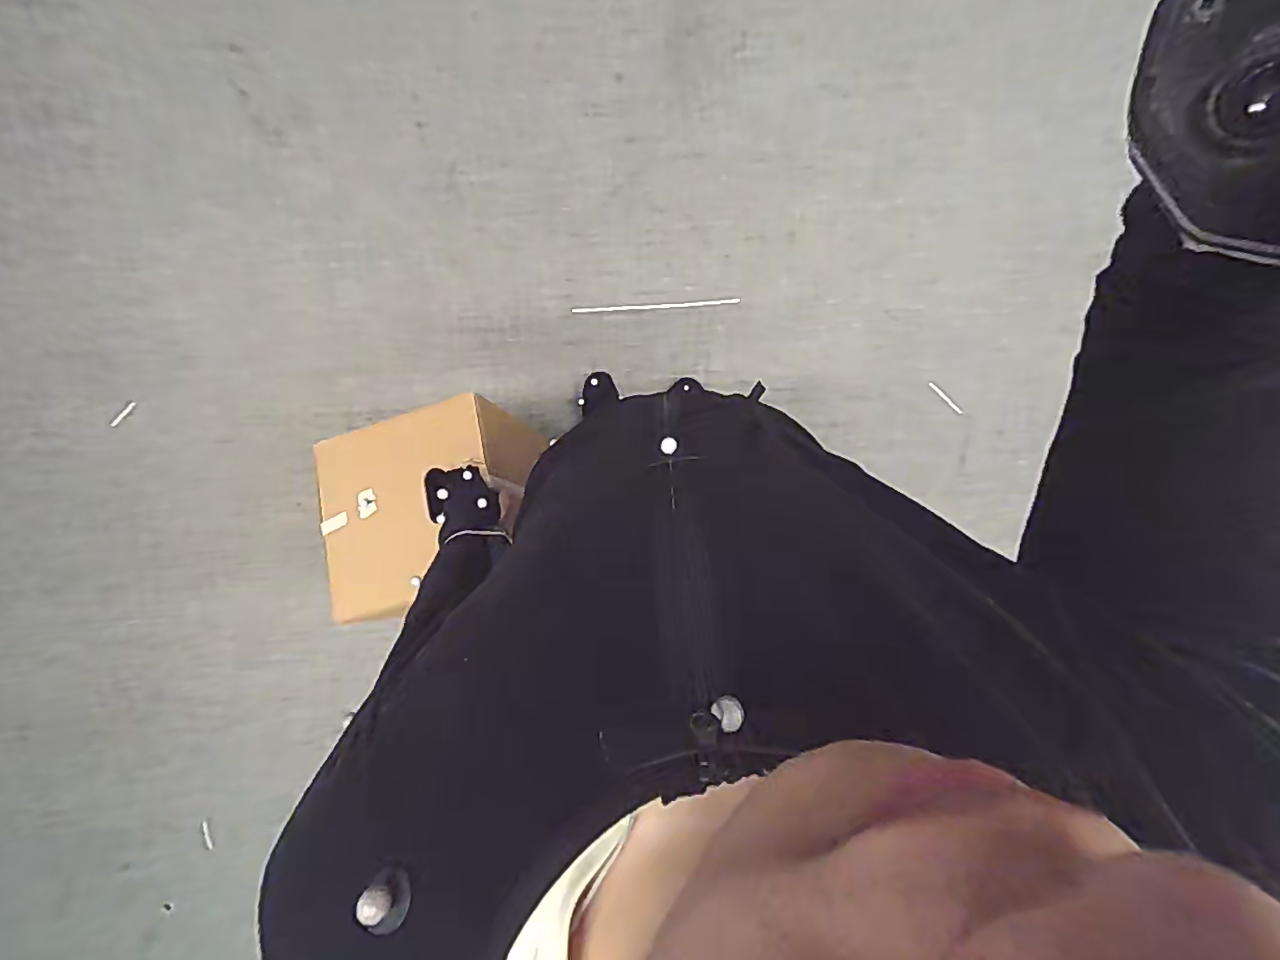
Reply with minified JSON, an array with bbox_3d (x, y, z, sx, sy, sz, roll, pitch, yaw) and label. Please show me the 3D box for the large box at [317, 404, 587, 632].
[{"bbox_3d":[-0.337,0.089,1.059,0.320,0.408,0.320,-16,78,9],"label":"large box"}]
